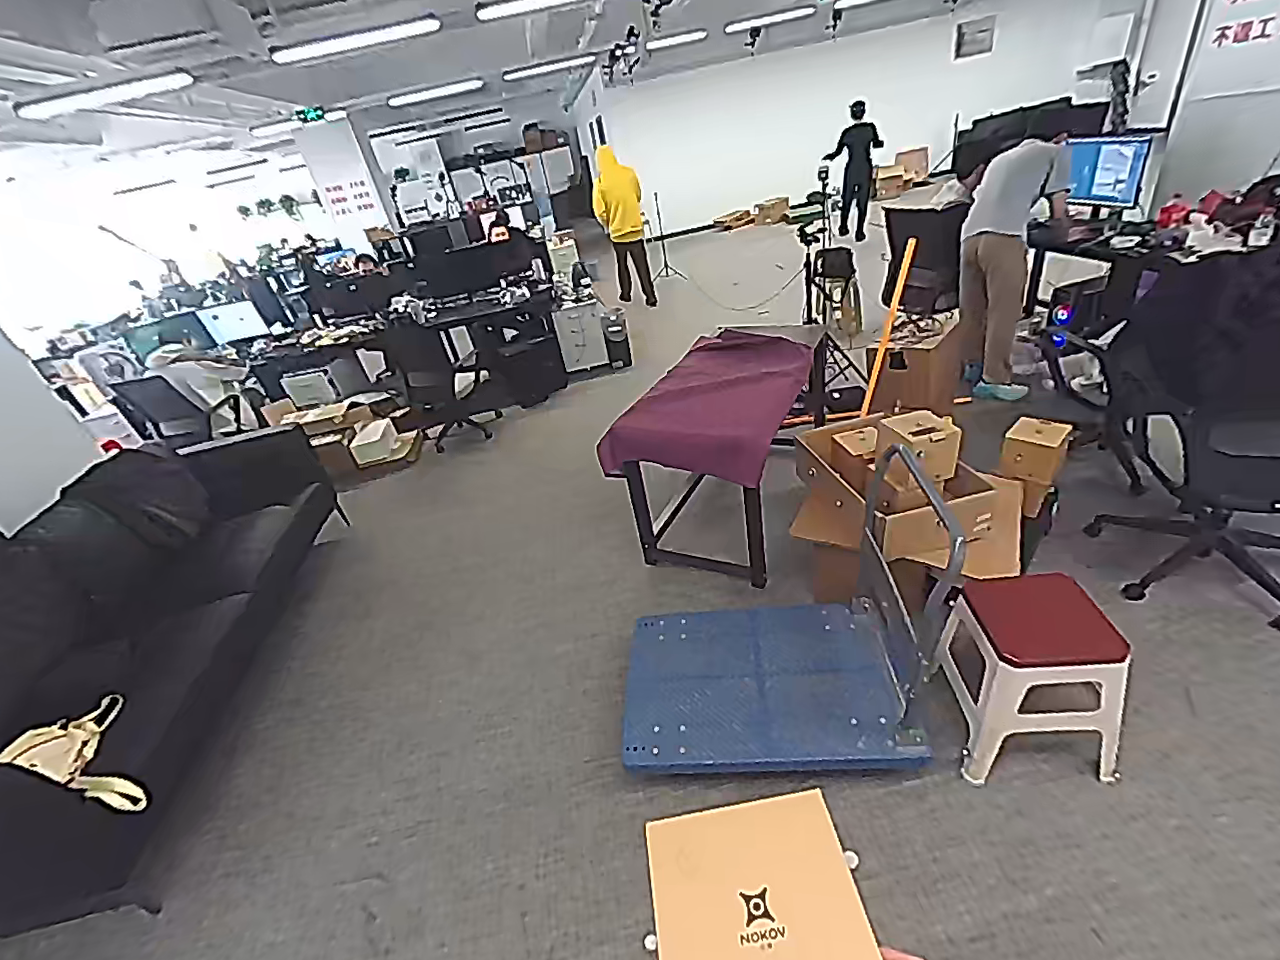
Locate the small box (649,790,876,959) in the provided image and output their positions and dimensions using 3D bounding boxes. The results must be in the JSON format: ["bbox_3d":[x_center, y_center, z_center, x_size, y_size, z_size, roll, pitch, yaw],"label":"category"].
[{"bbox_3d":[0.106,0.416,0.481,0.168,0.176,0.179,-11,35,2],"label":"small box"}]
